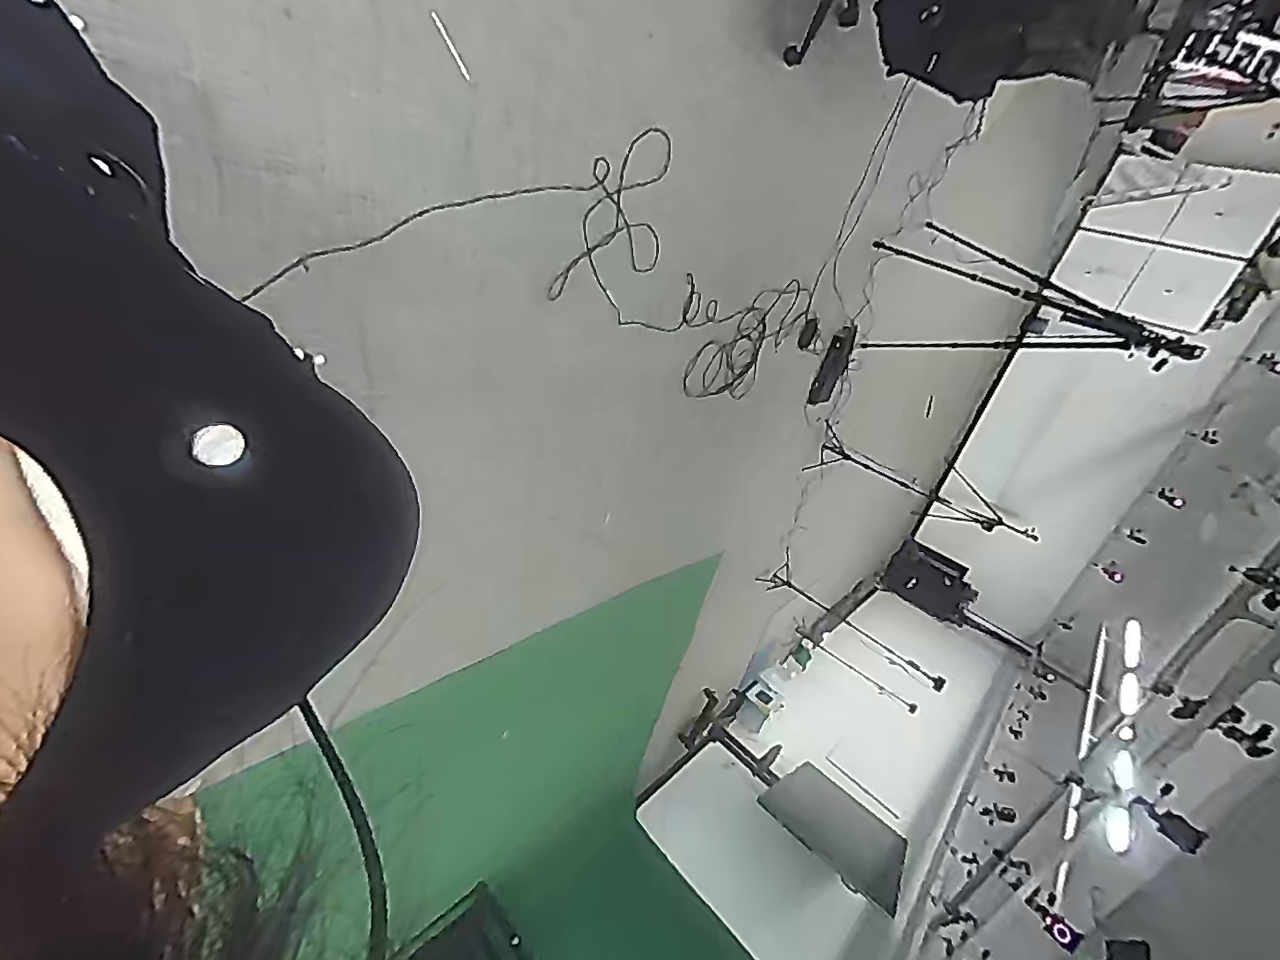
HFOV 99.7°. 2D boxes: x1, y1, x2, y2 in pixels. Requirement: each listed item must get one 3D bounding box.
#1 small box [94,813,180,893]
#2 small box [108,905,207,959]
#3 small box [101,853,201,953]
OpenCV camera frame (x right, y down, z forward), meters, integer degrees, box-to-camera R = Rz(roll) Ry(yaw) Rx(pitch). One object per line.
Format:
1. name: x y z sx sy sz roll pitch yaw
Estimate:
1. small box: -1.461 1.119 1.578 0.168 0.176 0.179 -12 126 -46
2. small box: -1.234 1.260 1.386 0.179 0.176 0.168 -12 126 -46
3. small box: -1.342 1.185 1.487 0.179 0.176 0.168 -10 125 -46
